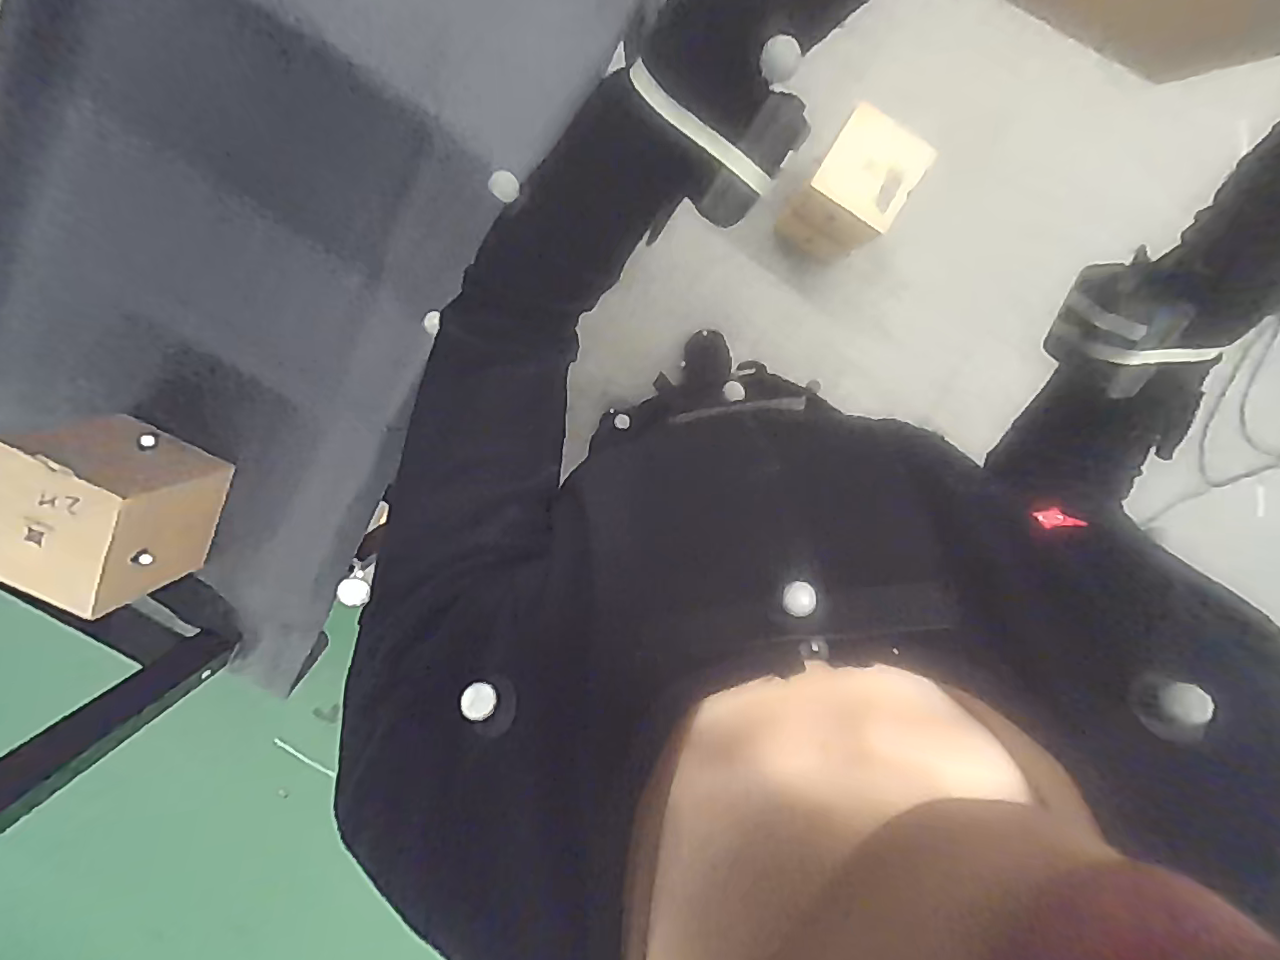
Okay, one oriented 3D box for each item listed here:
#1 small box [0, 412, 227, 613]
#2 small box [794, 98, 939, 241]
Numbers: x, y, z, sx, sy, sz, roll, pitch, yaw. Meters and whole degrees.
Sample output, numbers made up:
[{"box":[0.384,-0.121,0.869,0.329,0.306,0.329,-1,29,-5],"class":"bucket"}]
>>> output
[{"box":[-0.685,0.031,0.697,0.168,0.176,0.179,27,104,-5],"class":"small box"},{"box":[0.435,-0.597,1.069,0.179,0.176,0.168,31,104,-4],"class":"small box"}]
